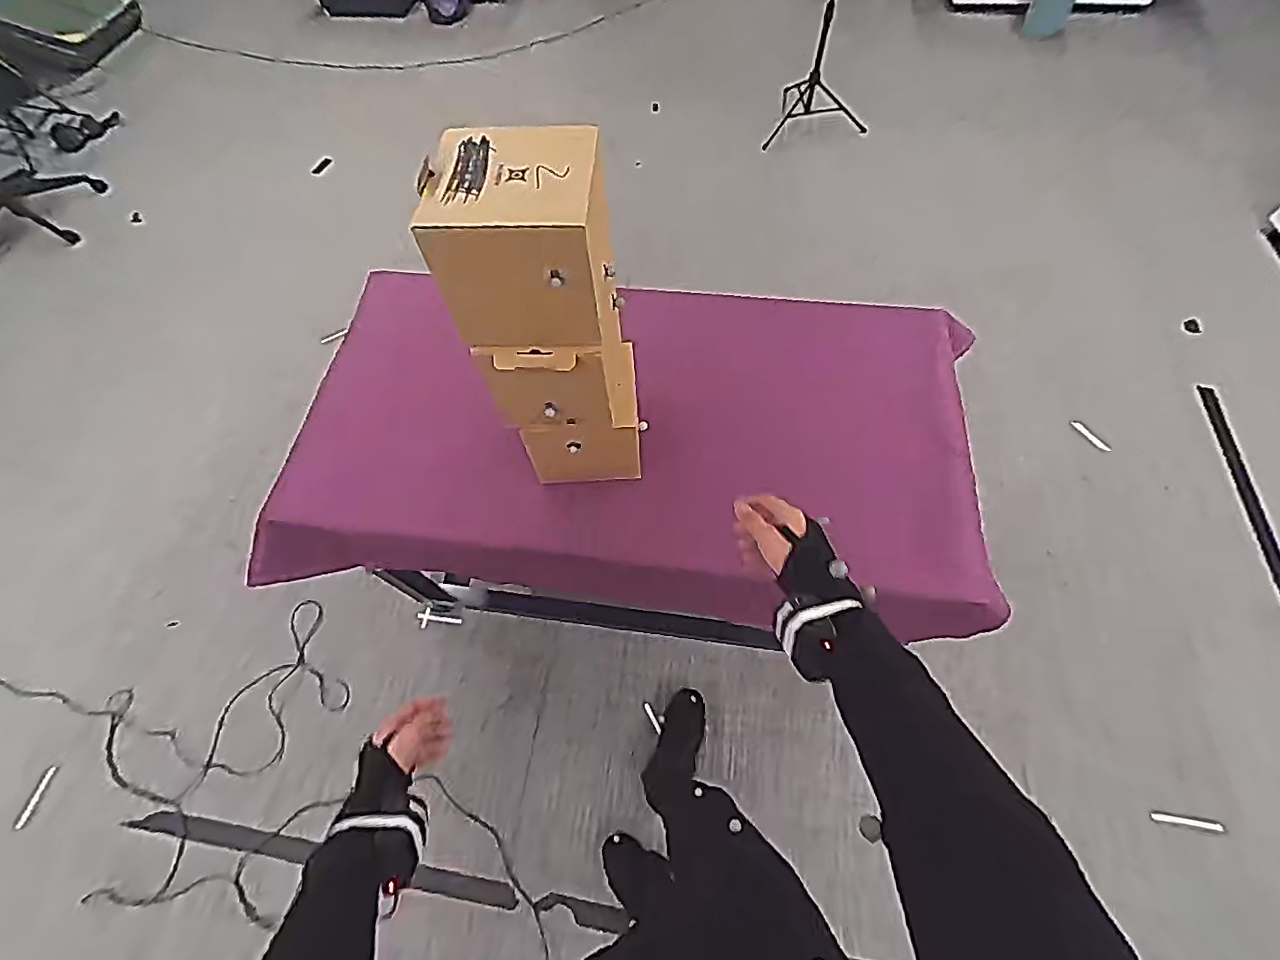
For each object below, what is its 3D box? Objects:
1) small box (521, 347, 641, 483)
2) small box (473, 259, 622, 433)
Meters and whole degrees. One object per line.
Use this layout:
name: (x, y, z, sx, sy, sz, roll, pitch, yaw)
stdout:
small box: (-0.090, -0.103, 0.911, 0.179, 0.176, 0.168, -3, 62, 1)
small box: (-0.117, -0.187, 0.771, 0.168, 0.176, 0.179, 1, 62, 4)
